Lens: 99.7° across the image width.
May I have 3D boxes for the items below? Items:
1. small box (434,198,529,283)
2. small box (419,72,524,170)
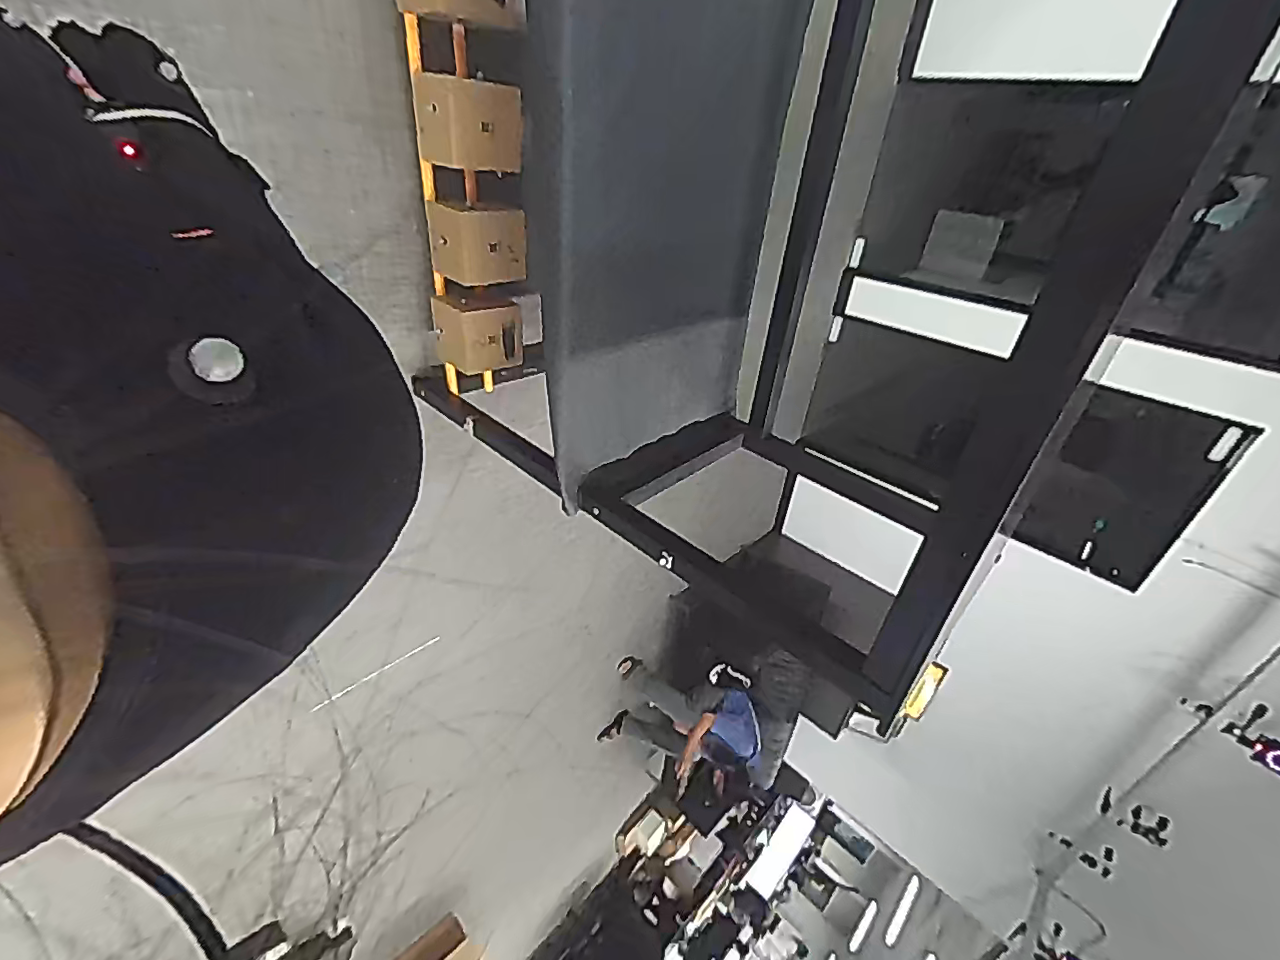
[{"bbox_3d":[-0.400,-0.604,1.357,0.179,0.176,0.168,-26,134,-39],"label":"small box"},{"bbox_3d":[-0.382,-0.808,1.222,0.179,0.176,0.168,-24,134,-40],"label":"small box"}]
